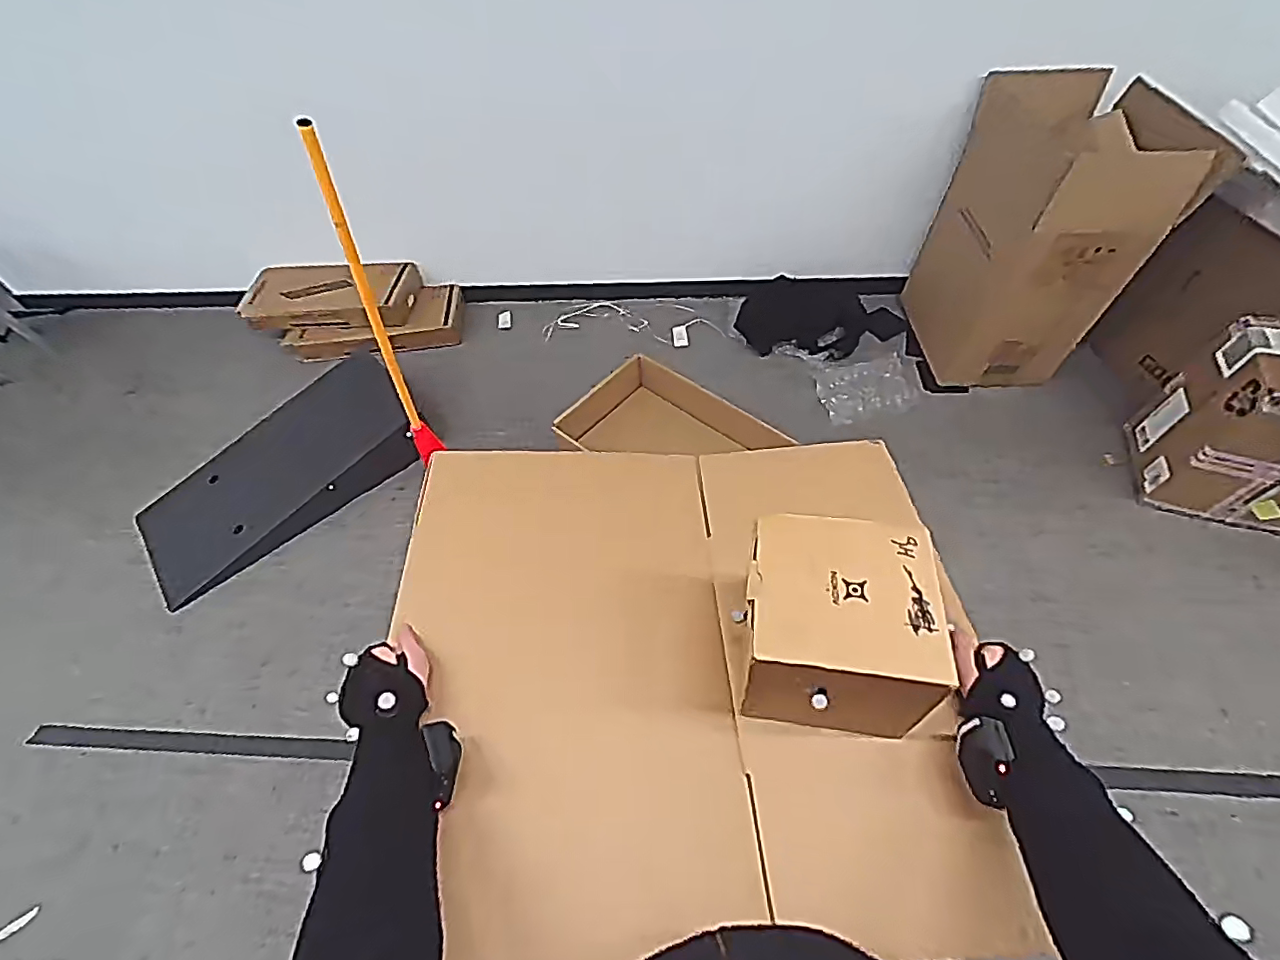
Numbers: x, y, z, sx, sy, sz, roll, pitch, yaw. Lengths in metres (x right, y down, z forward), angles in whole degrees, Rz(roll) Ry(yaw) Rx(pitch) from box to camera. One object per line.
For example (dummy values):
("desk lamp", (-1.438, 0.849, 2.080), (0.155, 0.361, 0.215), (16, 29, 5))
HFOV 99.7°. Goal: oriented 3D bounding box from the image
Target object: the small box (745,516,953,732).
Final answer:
("small box", (0.208, 0.159, 0.591), (0.179, 0.176, 0.168), (4, 51, 11))
